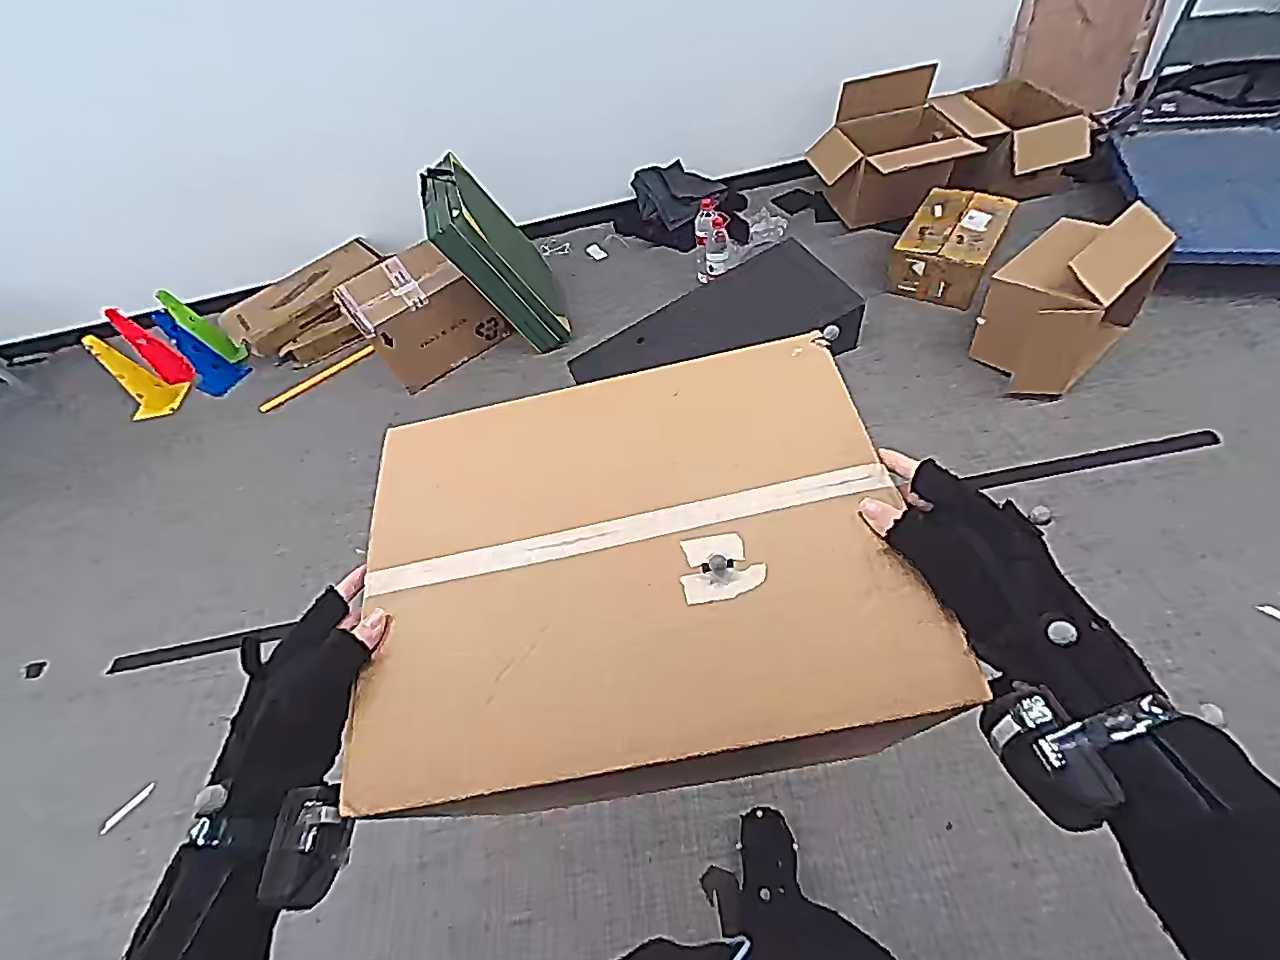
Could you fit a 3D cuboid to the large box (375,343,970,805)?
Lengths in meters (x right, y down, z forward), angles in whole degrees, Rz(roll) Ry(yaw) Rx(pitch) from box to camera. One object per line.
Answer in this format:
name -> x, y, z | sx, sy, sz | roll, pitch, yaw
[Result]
large box -> 0.015, 0.118, 0.552 | 0.408, 0.320, 0.320 | -12, 58, 3
